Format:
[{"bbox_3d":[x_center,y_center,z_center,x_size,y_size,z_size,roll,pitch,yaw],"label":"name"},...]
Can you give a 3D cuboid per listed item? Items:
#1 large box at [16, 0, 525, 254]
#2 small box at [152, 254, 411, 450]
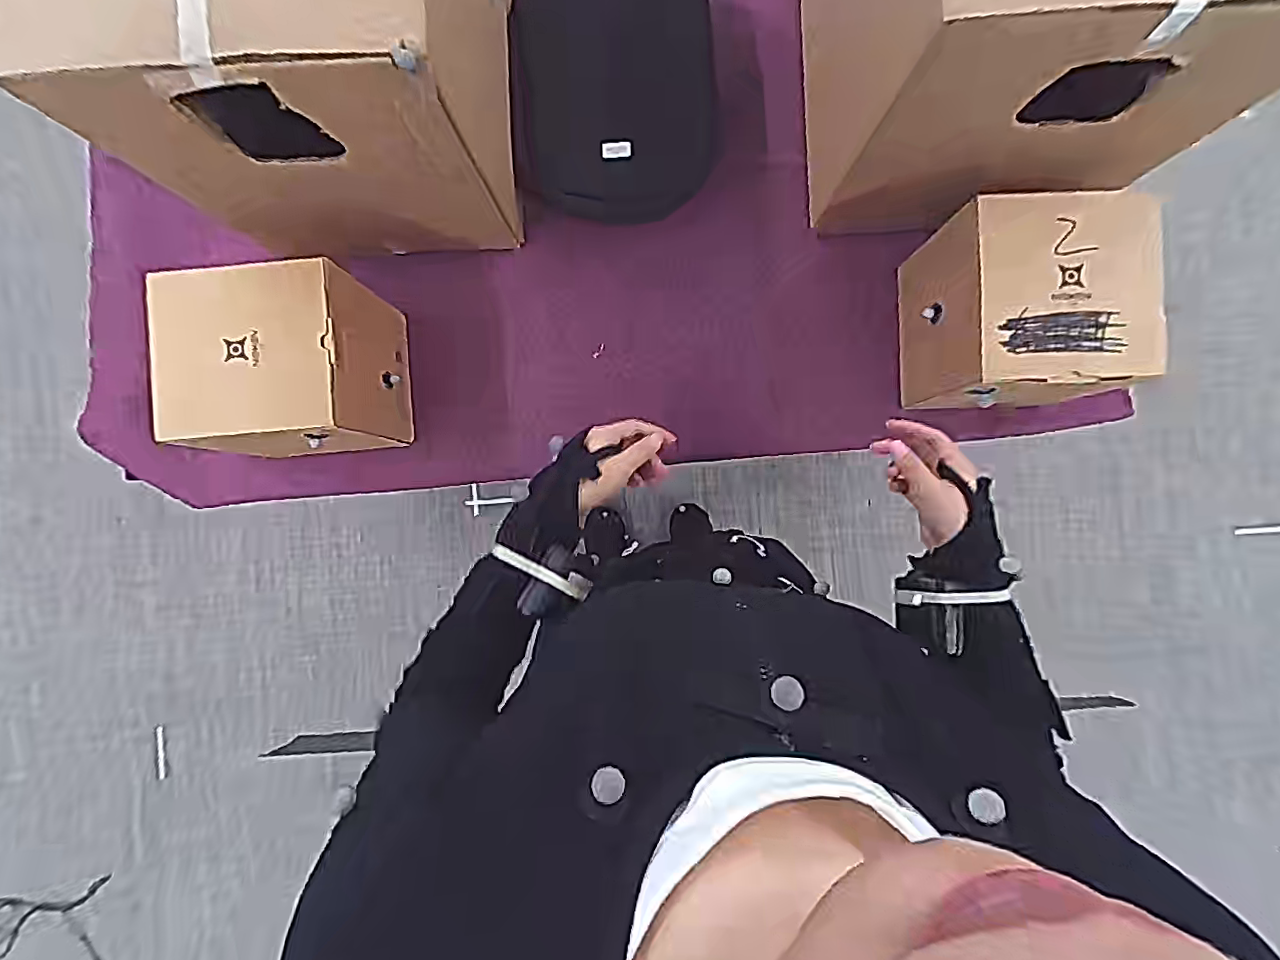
[{"bbox_3d":[-0.307,-0.487,0.534,0.320,0.320,0.408,-3,92,2],"label":"large box"},{"bbox_3d":[-0.381,-0.128,0.601,0.179,0.176,0.168,-5,88,1],"label":"small box"}]
